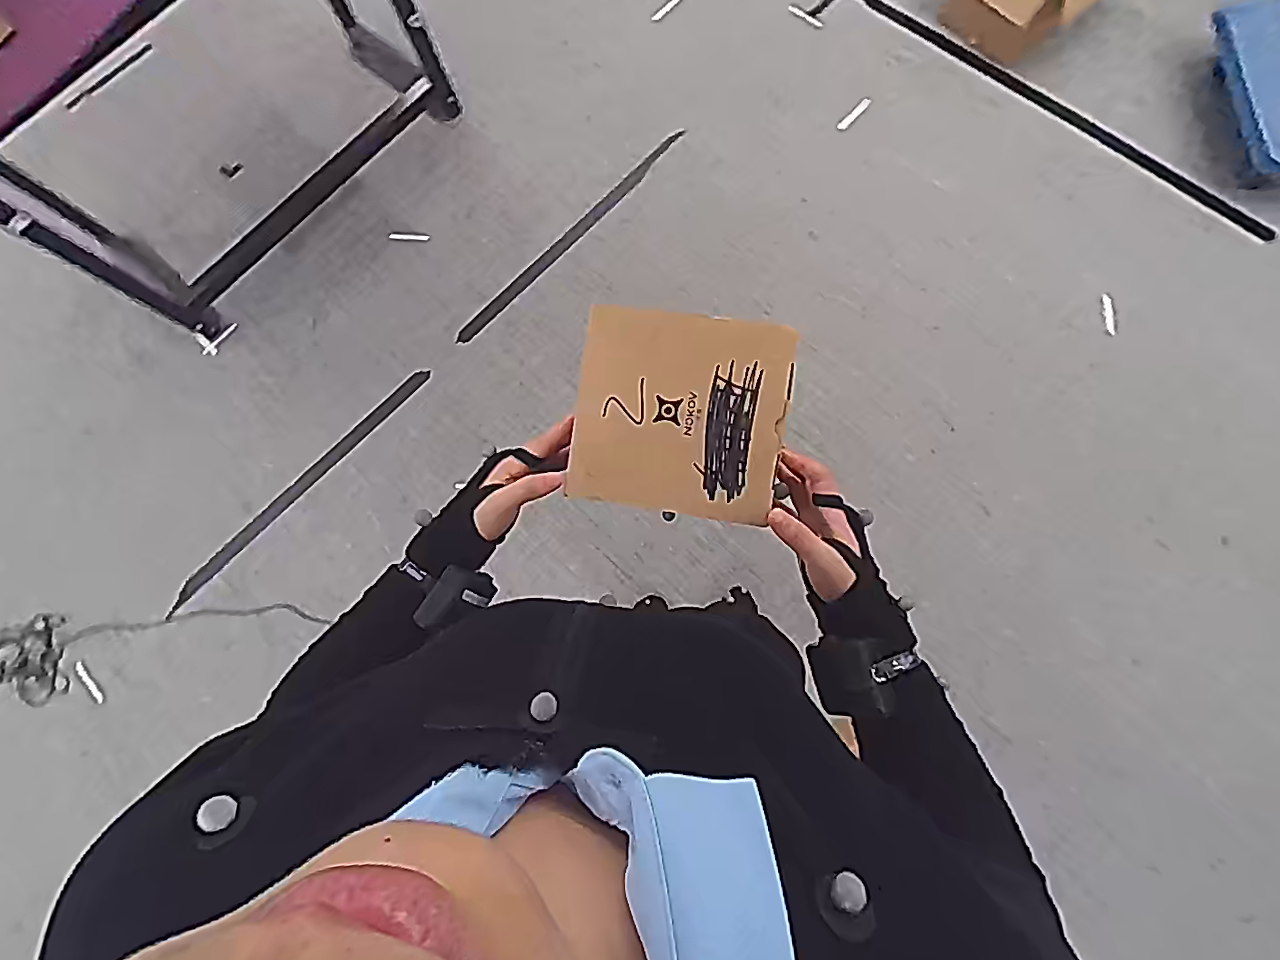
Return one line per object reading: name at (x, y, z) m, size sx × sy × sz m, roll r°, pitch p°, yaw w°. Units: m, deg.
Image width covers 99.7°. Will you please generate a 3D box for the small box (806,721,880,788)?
small box at (0.526, 0.702, 1.290) m, size 0.179 × 0.176 × 0.168 m, roll 40°, pitch 83°, yaw 11°
